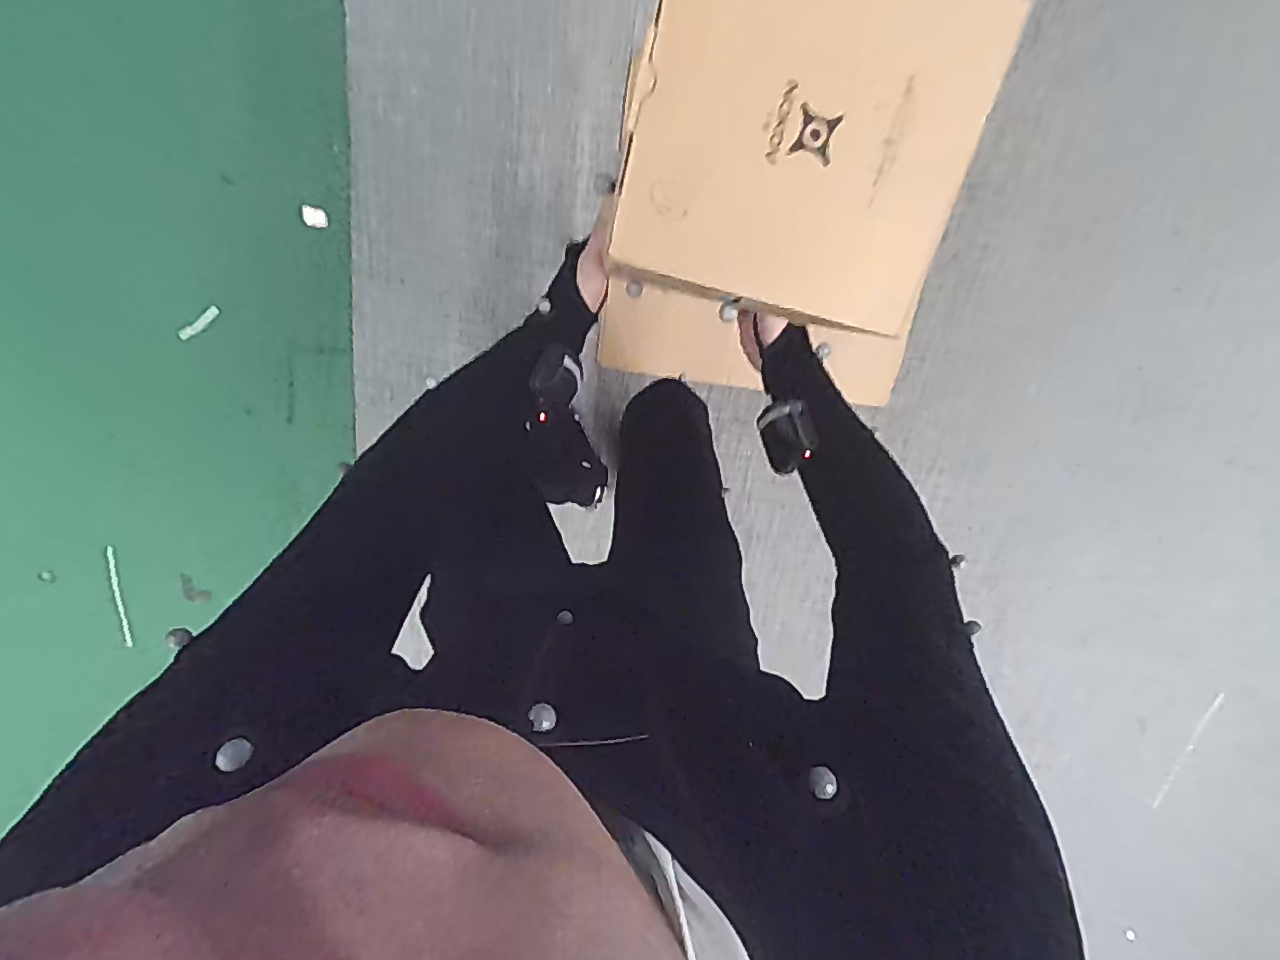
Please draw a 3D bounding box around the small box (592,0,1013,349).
[{"bbox_3d":[0.074,-0.191,0.350,0.179,0.176,0.168,13,107,-8],"label":"small box"}]
